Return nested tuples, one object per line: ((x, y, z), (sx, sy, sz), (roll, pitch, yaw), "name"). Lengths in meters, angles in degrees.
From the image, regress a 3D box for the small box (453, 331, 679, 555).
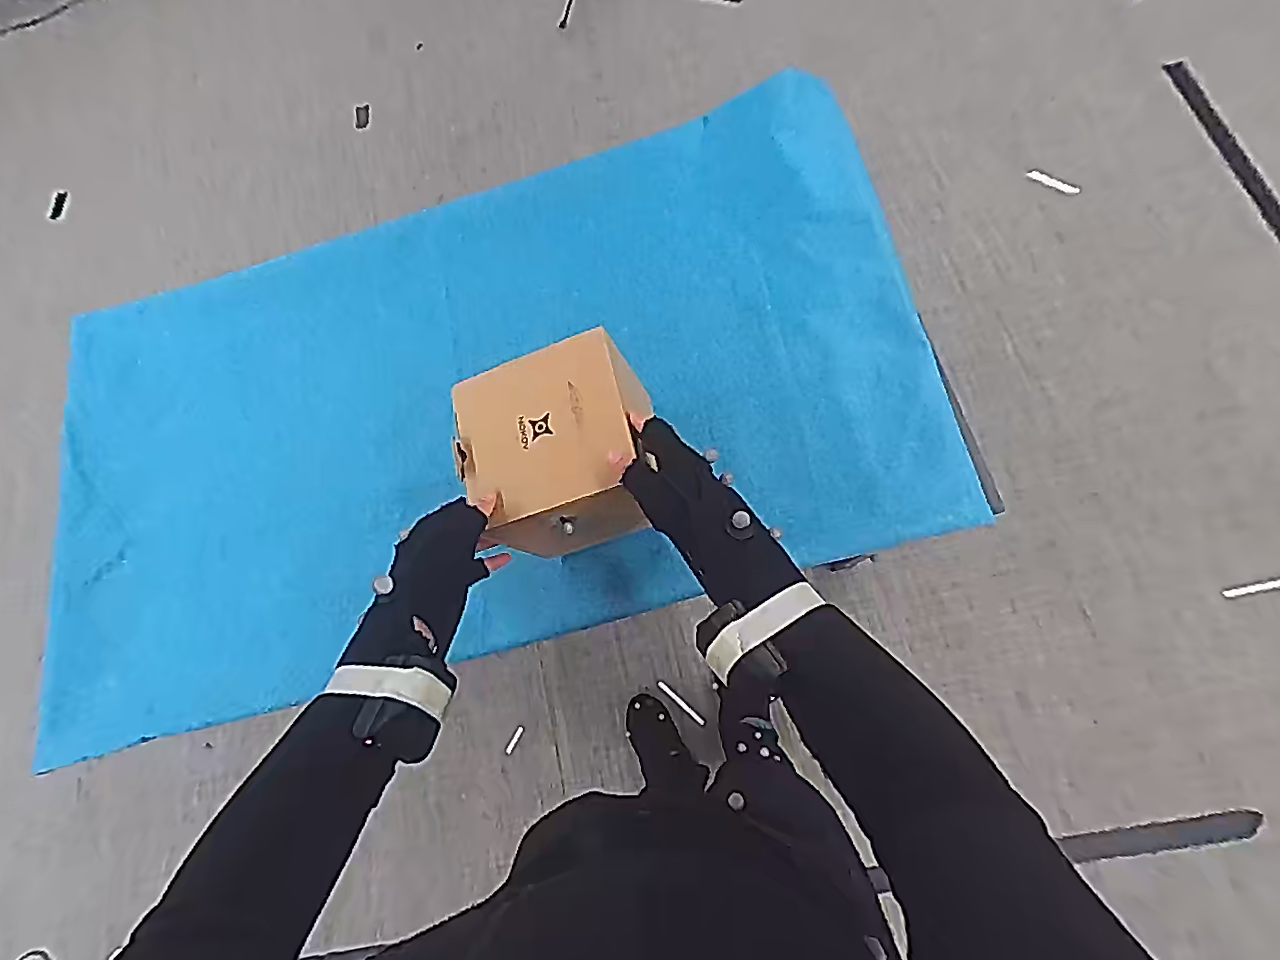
((-0.074, -0.024, 0.589), (0.179, 0.176, 0.168), (-18, 70, 13), "small box")
